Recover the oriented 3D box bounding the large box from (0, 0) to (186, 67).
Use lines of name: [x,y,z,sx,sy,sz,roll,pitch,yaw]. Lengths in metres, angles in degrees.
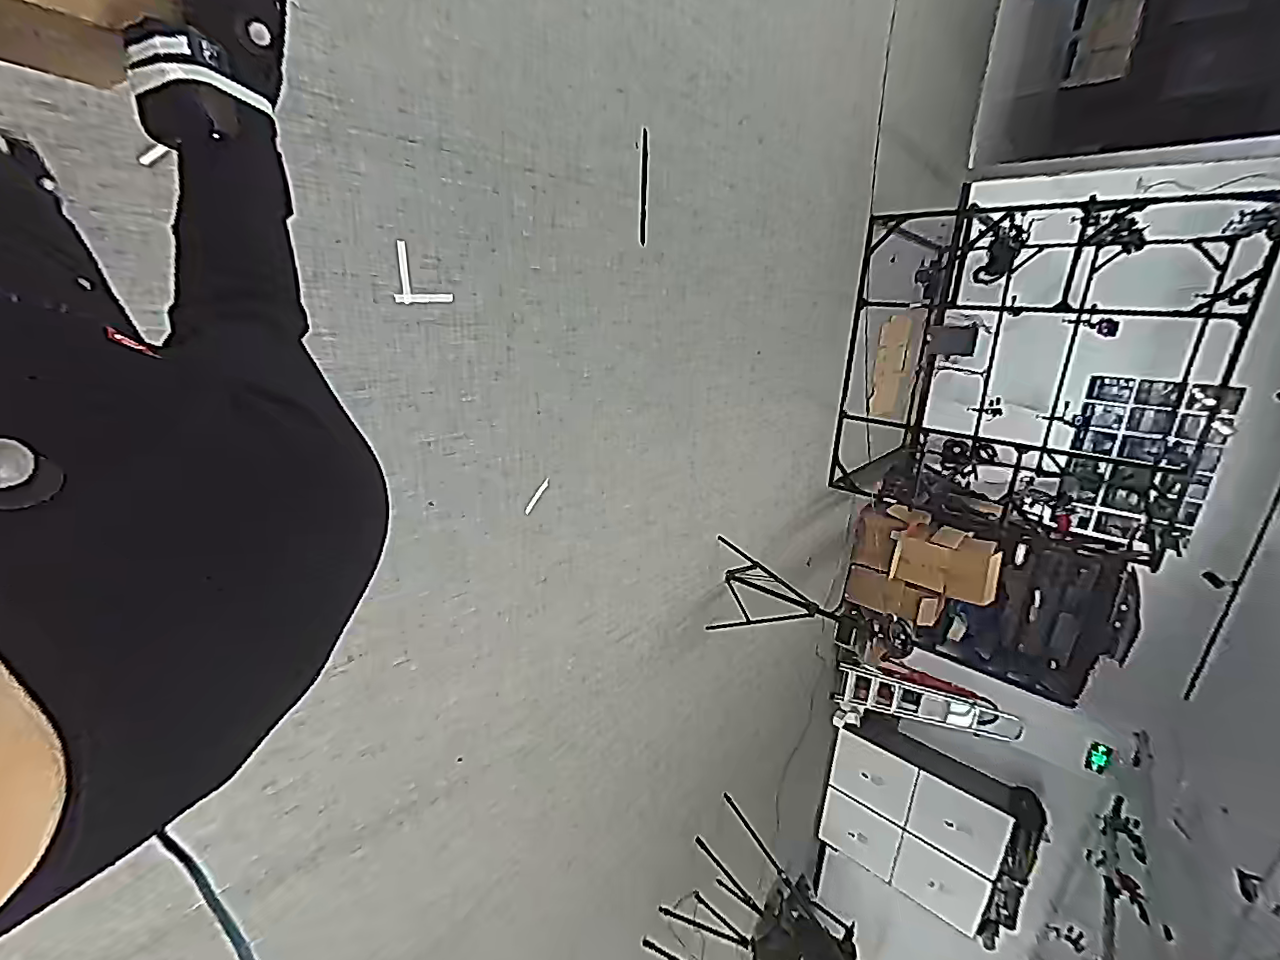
large box: [-0.546,-0.476,0.274,0.408,0.320,0.320,-16,123,-49]
